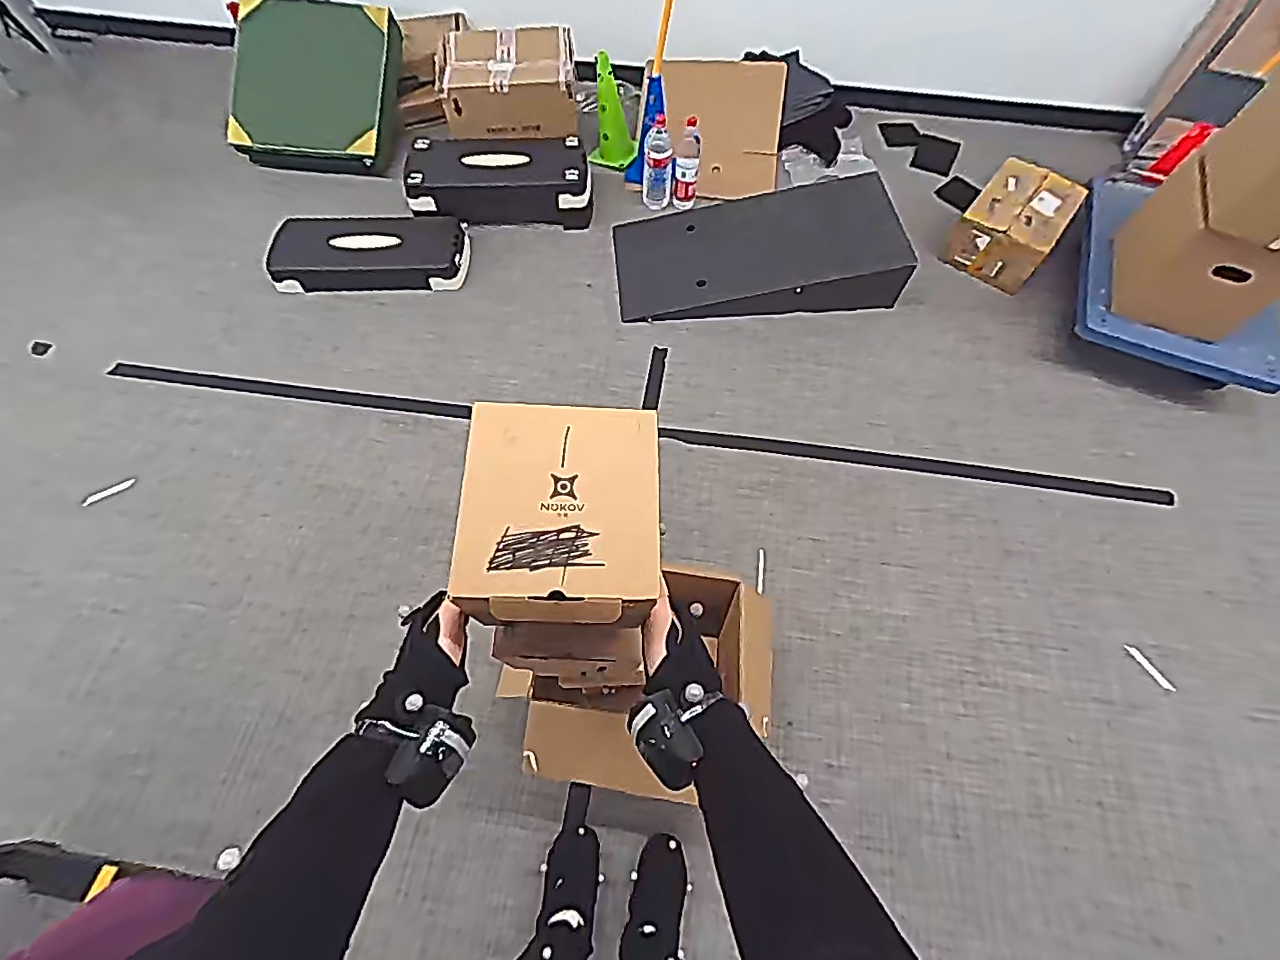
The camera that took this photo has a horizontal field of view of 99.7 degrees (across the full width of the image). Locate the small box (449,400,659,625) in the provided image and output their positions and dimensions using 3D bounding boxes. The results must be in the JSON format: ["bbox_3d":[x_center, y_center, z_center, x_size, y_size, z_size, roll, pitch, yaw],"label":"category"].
[{"bbox_3d":[-0.073,0.043,0.527,0.168,0.176,0.179,3,67,-5],"label":"small box"}]

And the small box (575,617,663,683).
[{"bbox_3d":[-0.060,0.327,1.148,0.179,0.176,0.168,-9,67,-9],"label":"small box"}]

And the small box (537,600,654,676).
[{"bbox_3d":[-0.071,0.211,0.839,0.179,0.176,0.168,3,67,-3],"label":"small box"}]

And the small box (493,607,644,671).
[{"bbox_3d":[-0.079,0.145,0.689,0.168,0.176,0.179,4,66,-3],"label":"small box"}]
